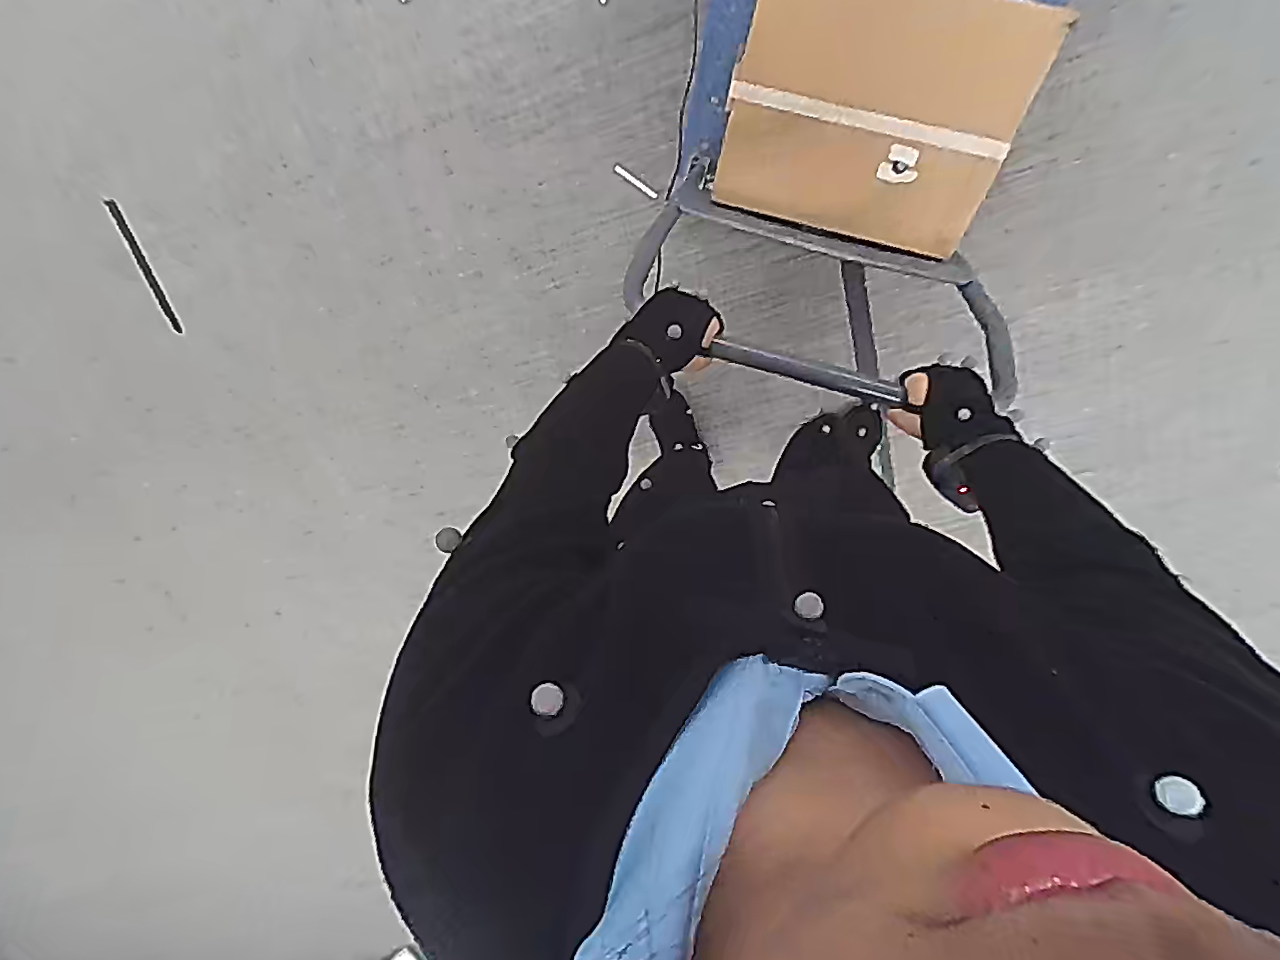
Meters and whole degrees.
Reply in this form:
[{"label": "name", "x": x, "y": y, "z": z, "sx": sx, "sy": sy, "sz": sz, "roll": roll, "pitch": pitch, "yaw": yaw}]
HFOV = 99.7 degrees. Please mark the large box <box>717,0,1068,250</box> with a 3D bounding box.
[{"label": "large box", "x": 0.371, "y": -0.629, "z": 0.922, "sx": 0.408, "sy": 0.320, "sz": 0.320, "roll": 15, "pitch": 129, "yaw": 3}]
